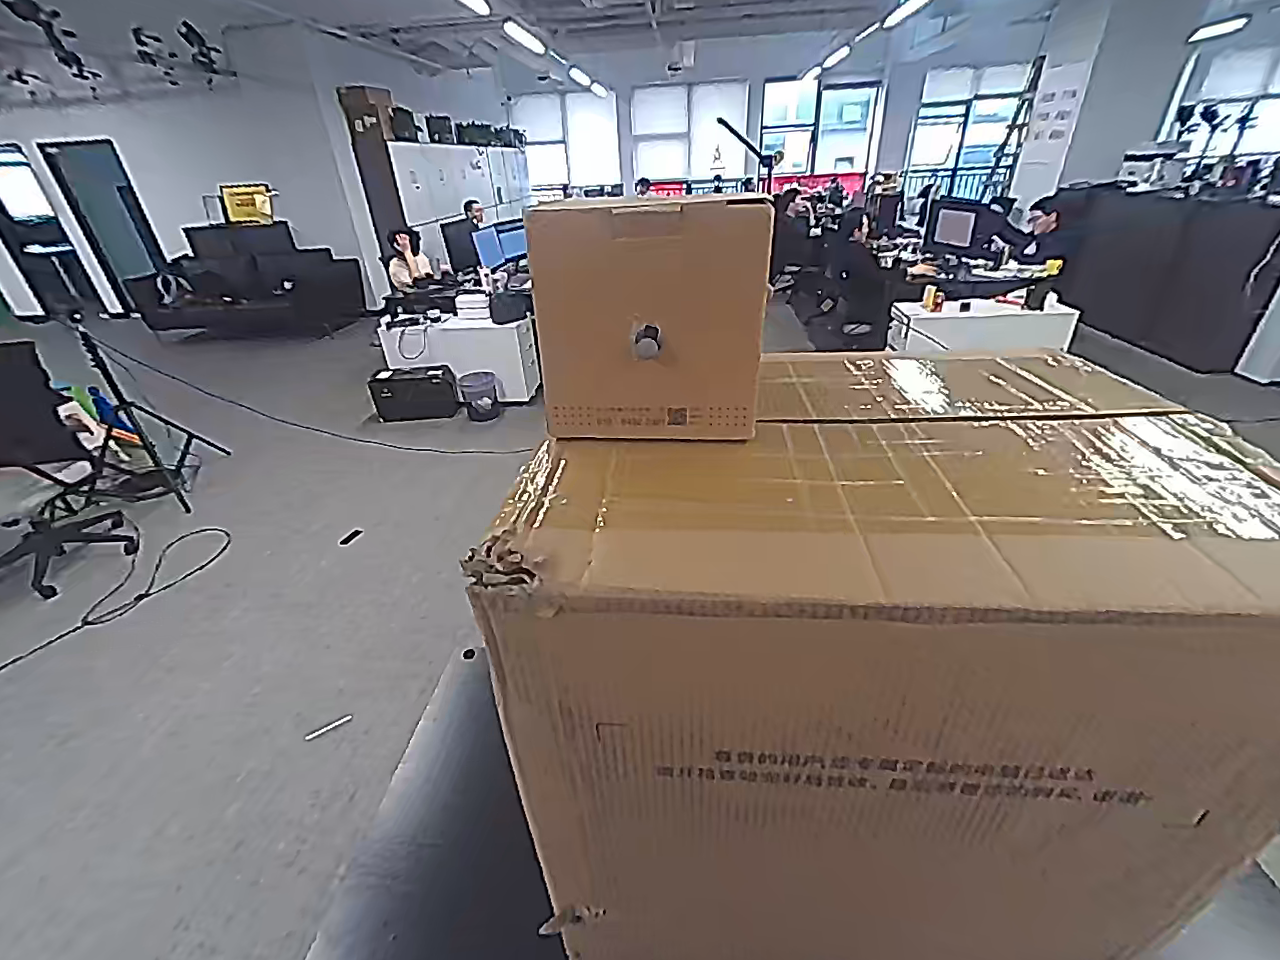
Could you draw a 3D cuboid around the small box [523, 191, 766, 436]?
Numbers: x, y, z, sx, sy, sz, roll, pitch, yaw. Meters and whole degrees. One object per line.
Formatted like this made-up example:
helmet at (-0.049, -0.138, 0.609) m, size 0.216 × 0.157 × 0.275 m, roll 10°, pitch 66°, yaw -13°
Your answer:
small box at (0.013, -0.145, 0.464) m, size 0.168 × 0.176 × 0.179 m, roll 1°, pitch 30°, yaw 5°
